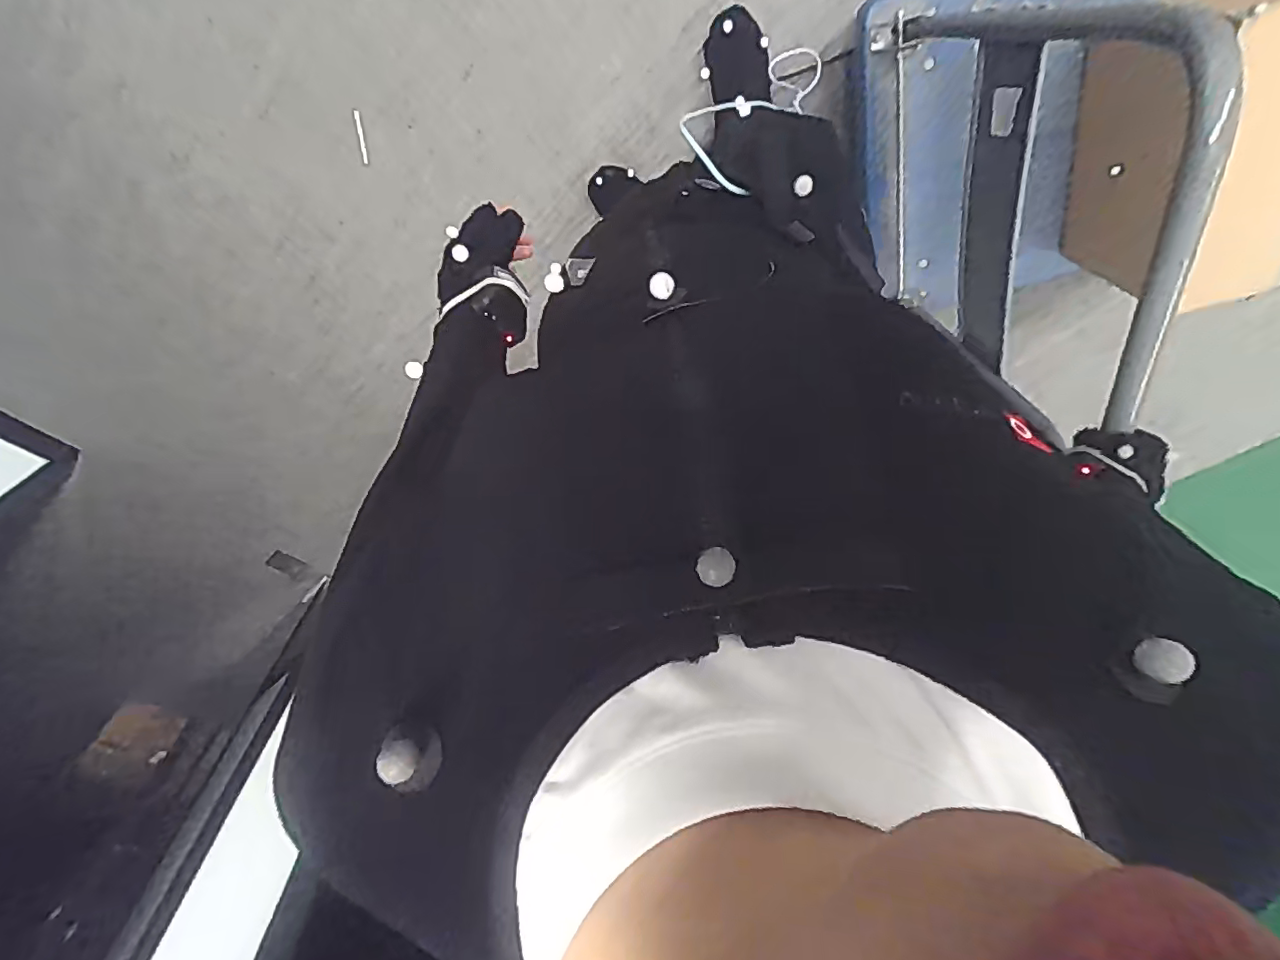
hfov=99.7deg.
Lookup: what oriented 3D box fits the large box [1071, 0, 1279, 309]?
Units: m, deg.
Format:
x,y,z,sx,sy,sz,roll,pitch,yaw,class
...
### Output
x,y,z,sx,sy,sz,roll,pitch,yaw,class
0.944,-0.554,0.845,0.320,0.320,0.408,-16,127,15,large box
